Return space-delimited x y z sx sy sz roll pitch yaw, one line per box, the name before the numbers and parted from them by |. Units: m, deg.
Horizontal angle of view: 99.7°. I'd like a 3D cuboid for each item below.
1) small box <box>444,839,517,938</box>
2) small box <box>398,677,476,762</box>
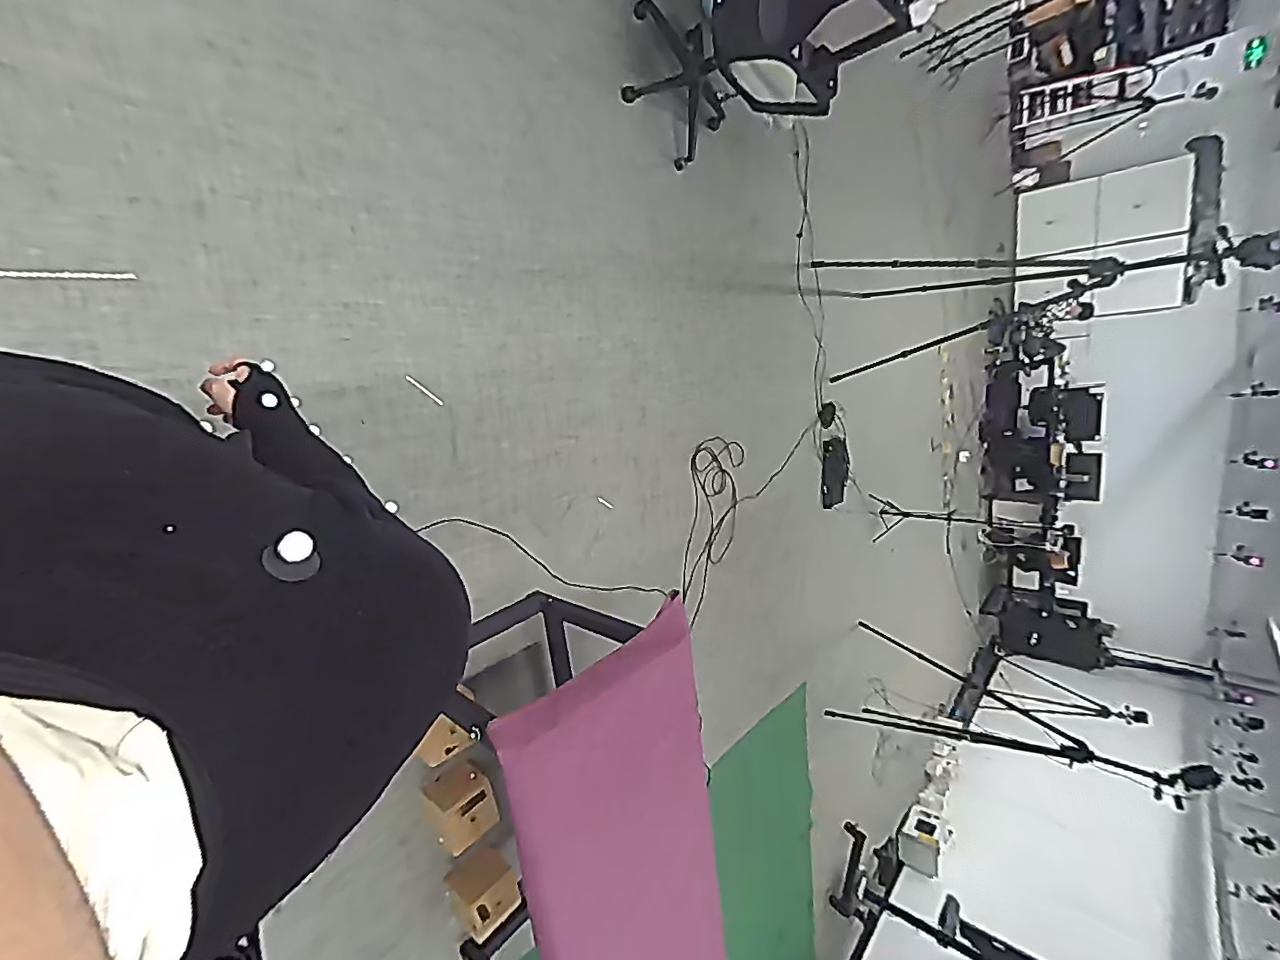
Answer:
small box | -0.559 1.409 1.875 0.179 0.176 0.168 -23 111 -45
small box | -0.647 0.746 1.716 0.168 0.176 0.179 -16 104 -46
